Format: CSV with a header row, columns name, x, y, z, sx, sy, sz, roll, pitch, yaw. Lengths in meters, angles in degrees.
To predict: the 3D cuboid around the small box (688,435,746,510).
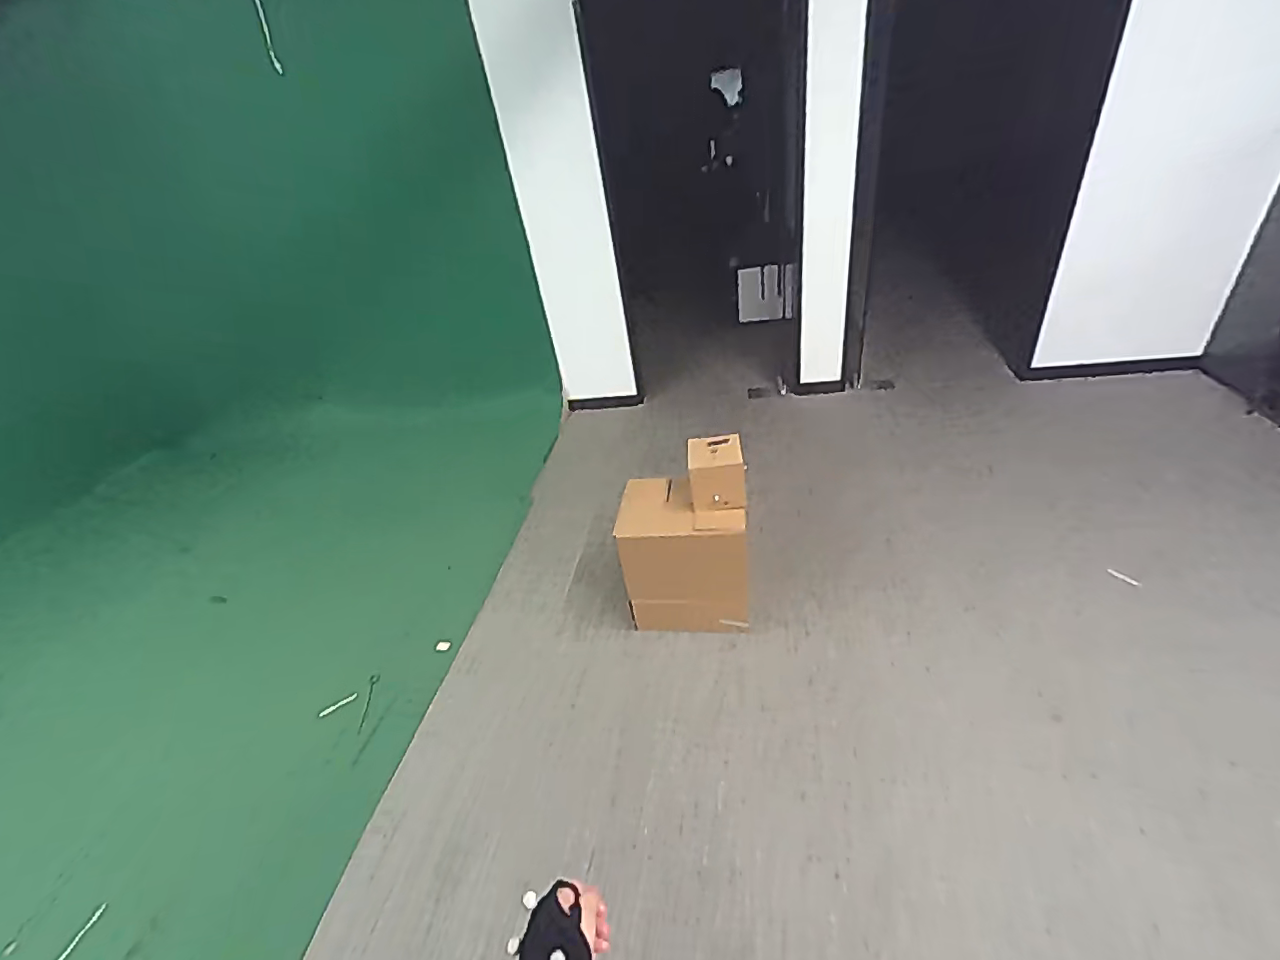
name,x,y,z,sx,sy,sz,roll,pitch,yaw
small box,0.247,-0.025,1.734,0.168,0.176,0.179,-6,35,10
